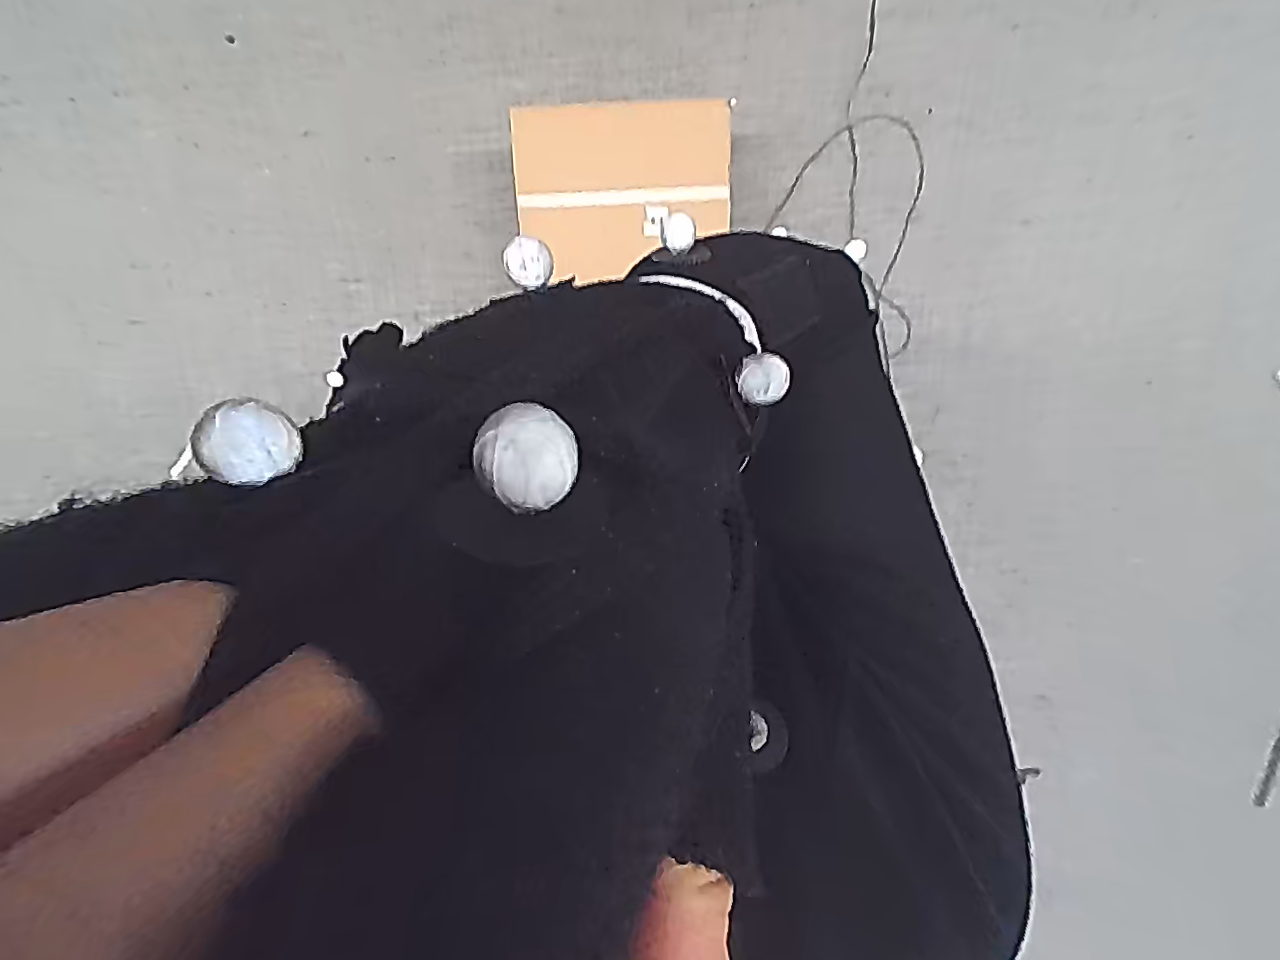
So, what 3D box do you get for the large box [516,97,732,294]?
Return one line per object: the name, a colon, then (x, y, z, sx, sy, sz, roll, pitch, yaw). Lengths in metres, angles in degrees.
large box: (-0.025, -0.584, 1.172, 0.408, 0.320, 0.320, -1, 107, 1)
